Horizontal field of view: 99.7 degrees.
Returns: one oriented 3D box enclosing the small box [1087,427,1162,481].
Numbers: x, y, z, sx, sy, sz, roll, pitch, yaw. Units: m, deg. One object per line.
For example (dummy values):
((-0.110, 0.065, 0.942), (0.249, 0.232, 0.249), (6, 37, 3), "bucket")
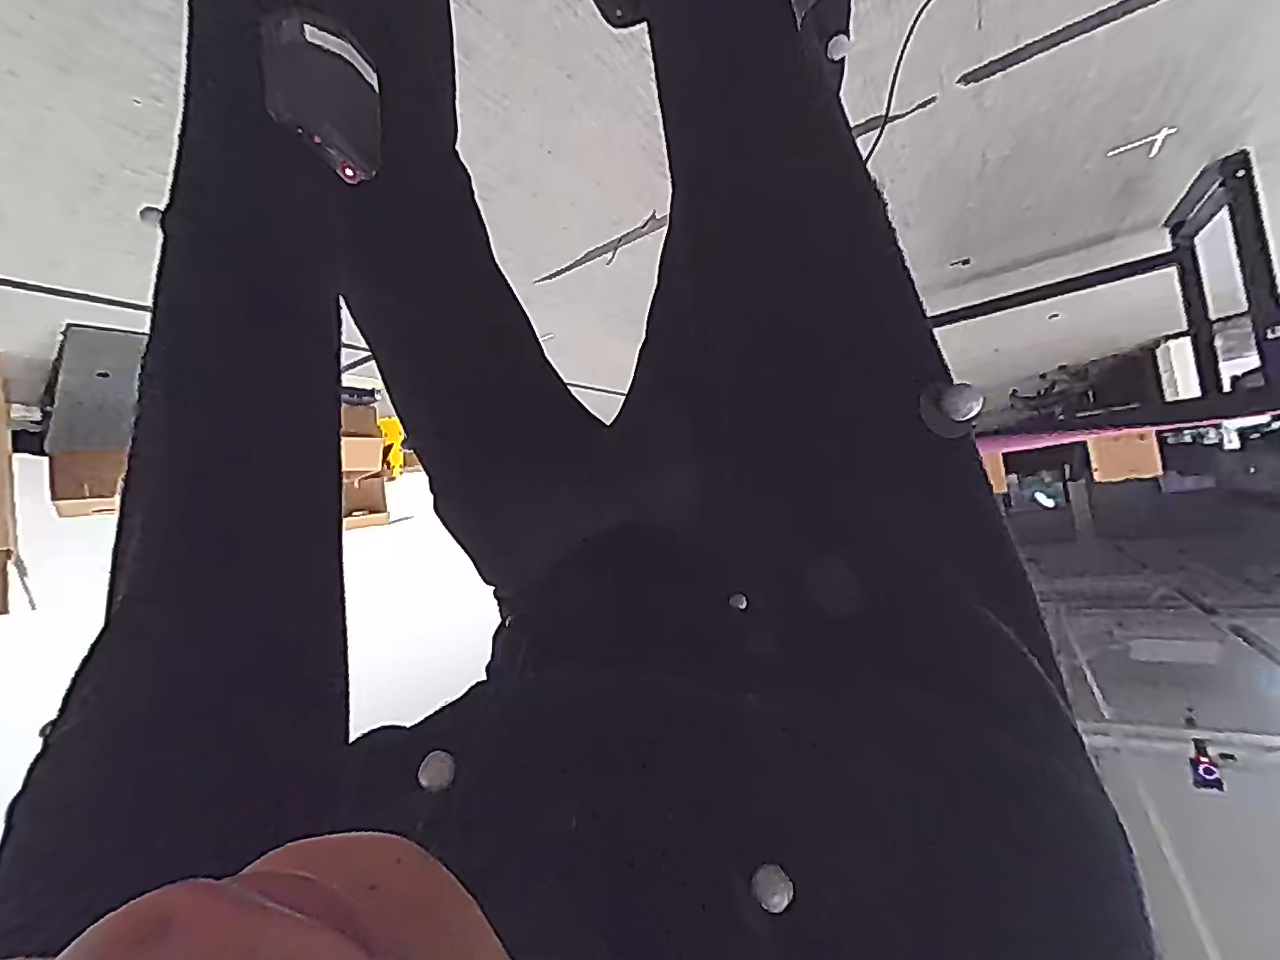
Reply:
((1.756, -0.094, 1.968), (0.168, 0.176, 0.179), (-10, 176, 33), "small box")
